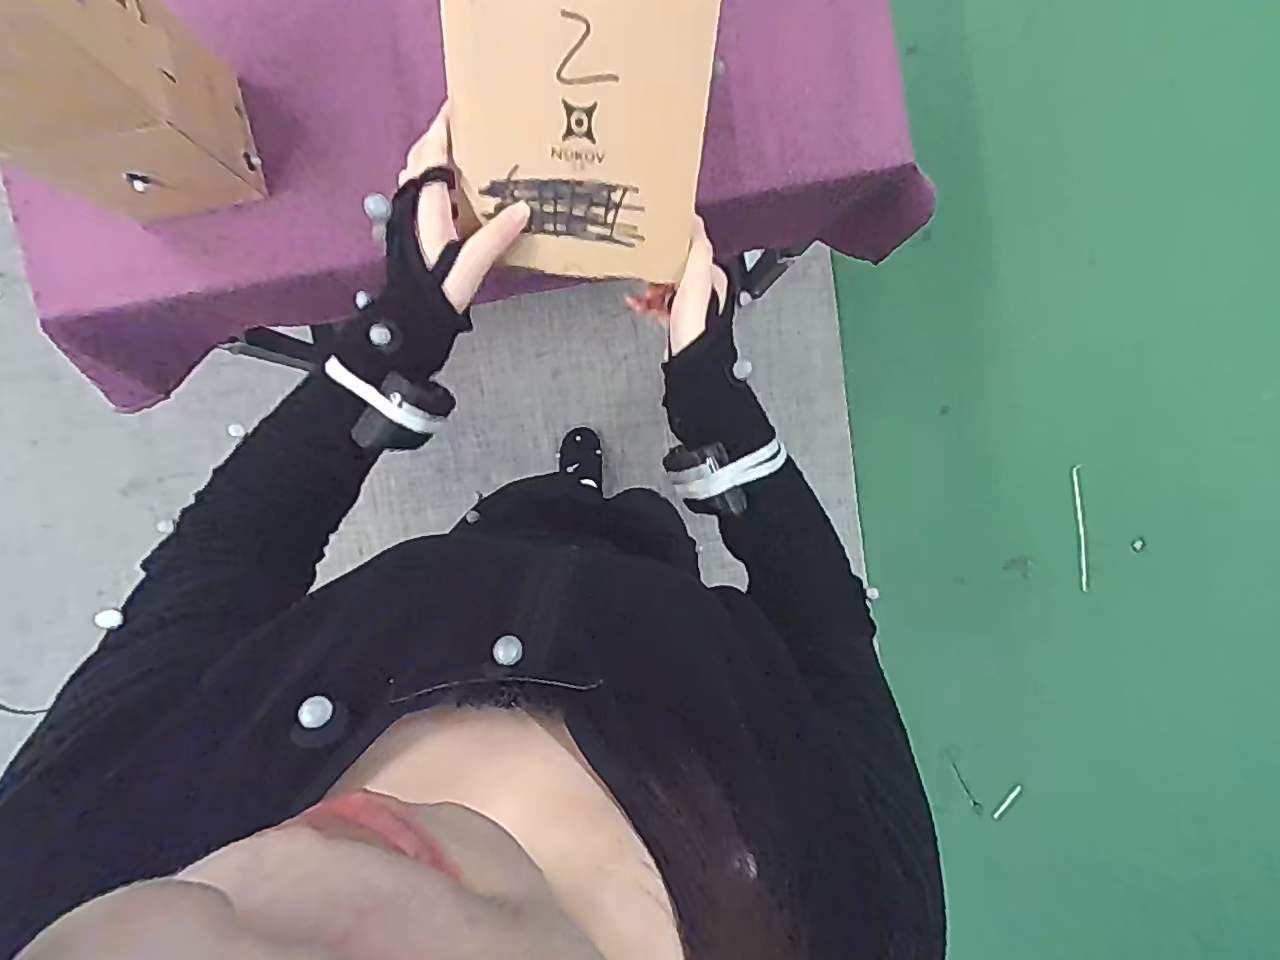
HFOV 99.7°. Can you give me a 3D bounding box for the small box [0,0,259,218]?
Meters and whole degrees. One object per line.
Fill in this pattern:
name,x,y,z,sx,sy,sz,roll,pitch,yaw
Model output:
small box,-0.584,-0.432,0.625,0.179,0.176,0.168,-13,94,-1
